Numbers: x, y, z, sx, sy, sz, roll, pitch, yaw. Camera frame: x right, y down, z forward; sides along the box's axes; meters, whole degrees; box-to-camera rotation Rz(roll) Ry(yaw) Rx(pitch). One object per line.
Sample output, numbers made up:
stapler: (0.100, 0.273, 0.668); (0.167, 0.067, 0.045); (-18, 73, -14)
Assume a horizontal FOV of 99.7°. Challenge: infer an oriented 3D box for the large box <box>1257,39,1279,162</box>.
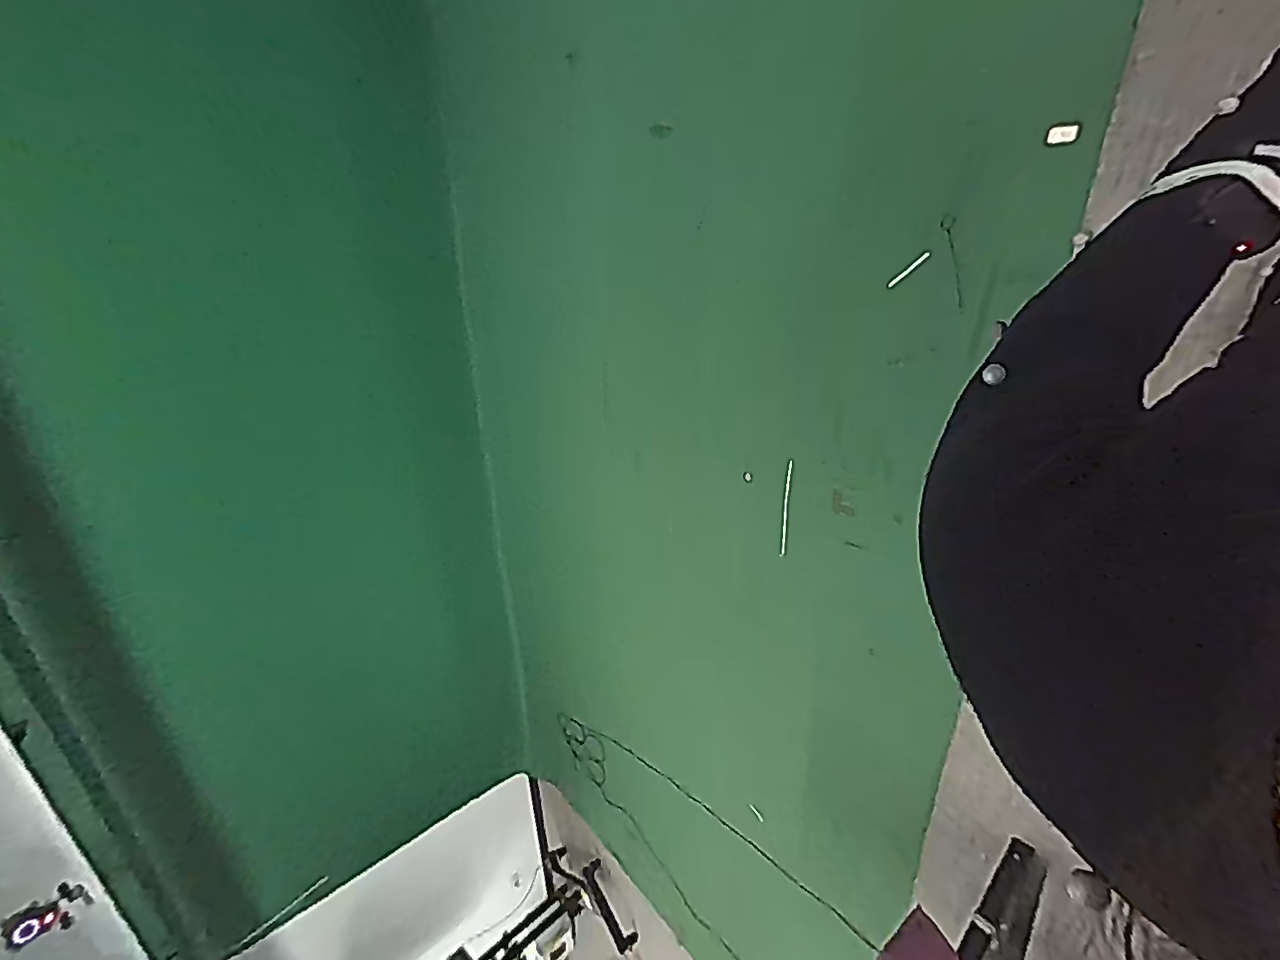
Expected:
large box: (1.057, -0.657, 0.660); (0.320, 0.320, 0.408); (21, 120, 45)
